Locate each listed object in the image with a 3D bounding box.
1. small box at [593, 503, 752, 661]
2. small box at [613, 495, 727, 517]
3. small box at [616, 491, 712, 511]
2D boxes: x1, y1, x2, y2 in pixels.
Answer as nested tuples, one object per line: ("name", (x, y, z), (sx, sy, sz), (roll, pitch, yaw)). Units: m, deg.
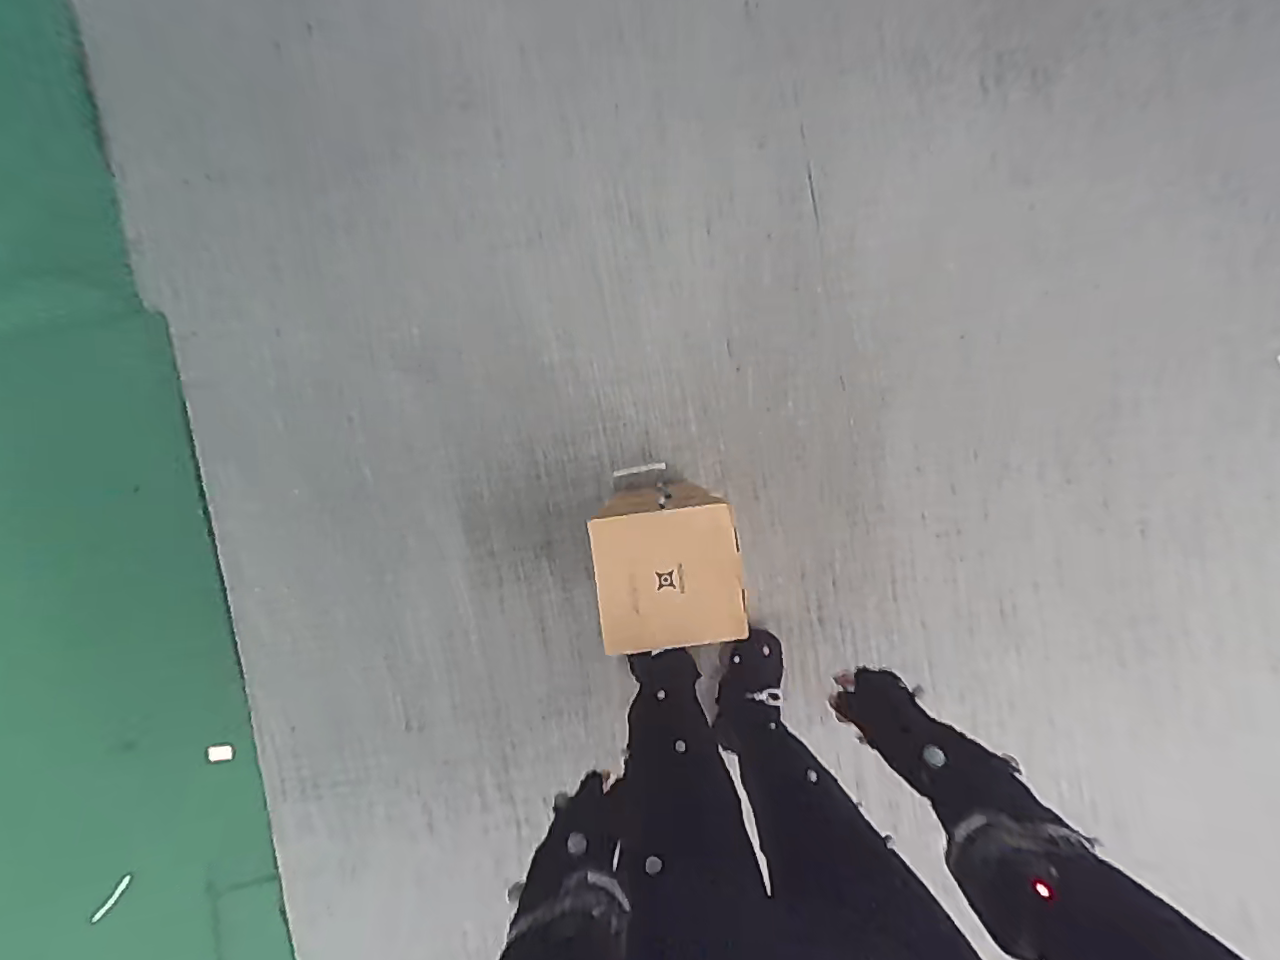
("small box", (0.039, 0.125, 0.726), (0.179, 0.176, 0.168), (-8, 90, 1))
("small box", (0.050, 0.117, 0.889), (0.179, 0.176, 0.168), (-7, 91, -1))
("small box", (0.046, 0.110, 1.050), (0.179, 0.176, 0.168), (-5, 89, -1))
